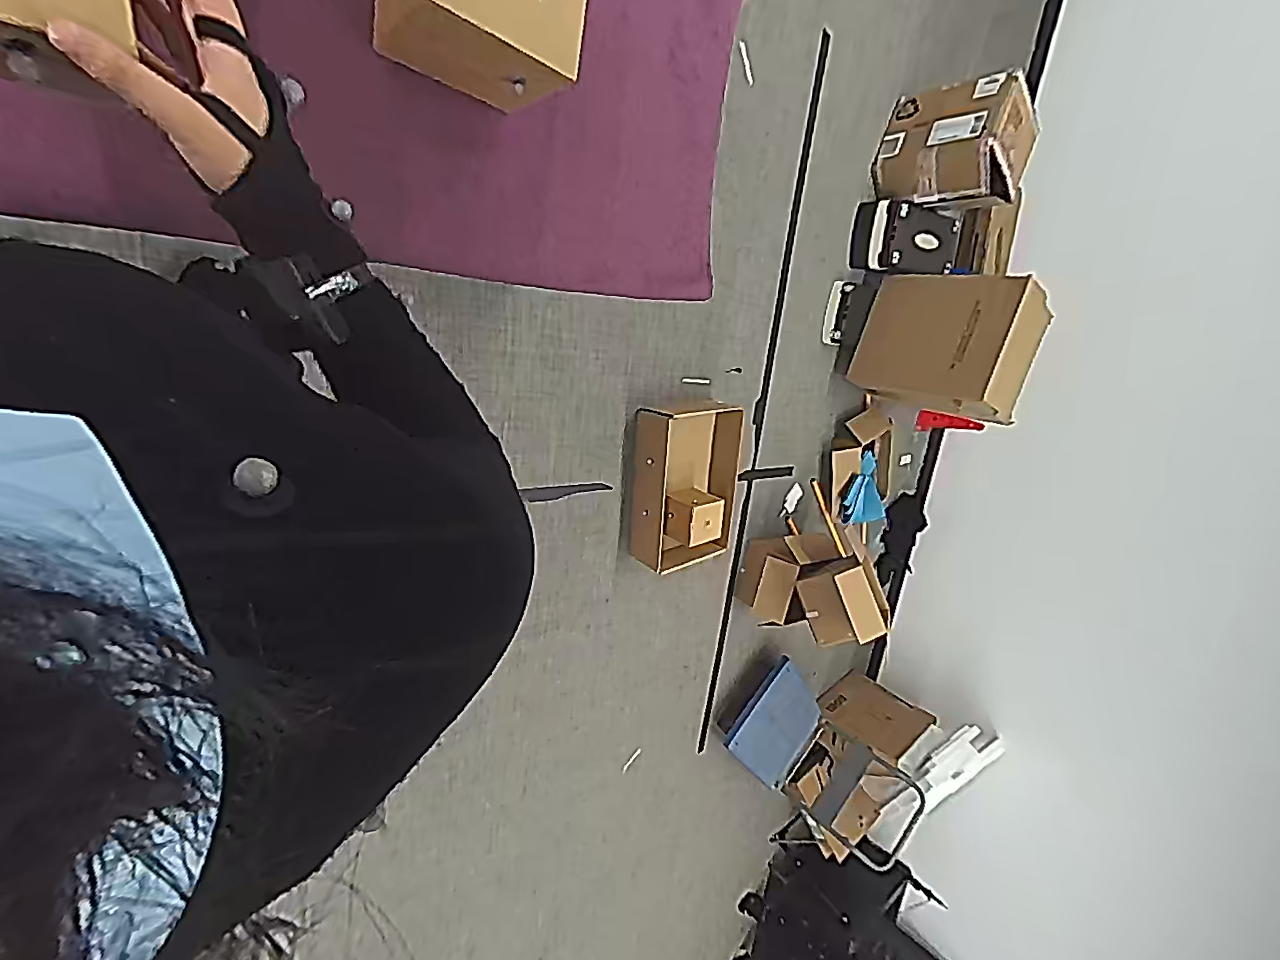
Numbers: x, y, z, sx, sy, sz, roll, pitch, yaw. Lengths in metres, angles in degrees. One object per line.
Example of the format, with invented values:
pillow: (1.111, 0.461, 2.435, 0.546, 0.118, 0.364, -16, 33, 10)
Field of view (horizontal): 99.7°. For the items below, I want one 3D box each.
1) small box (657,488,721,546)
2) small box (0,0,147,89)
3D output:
small box: (0.193, 0.141, 2.145, 0.179, 0.176, 0.168, -12, 113, -38)
small box: (-0.372, -0.318, 0.261, 0.179, 0.176, 0.168, -10, 115, -42)
